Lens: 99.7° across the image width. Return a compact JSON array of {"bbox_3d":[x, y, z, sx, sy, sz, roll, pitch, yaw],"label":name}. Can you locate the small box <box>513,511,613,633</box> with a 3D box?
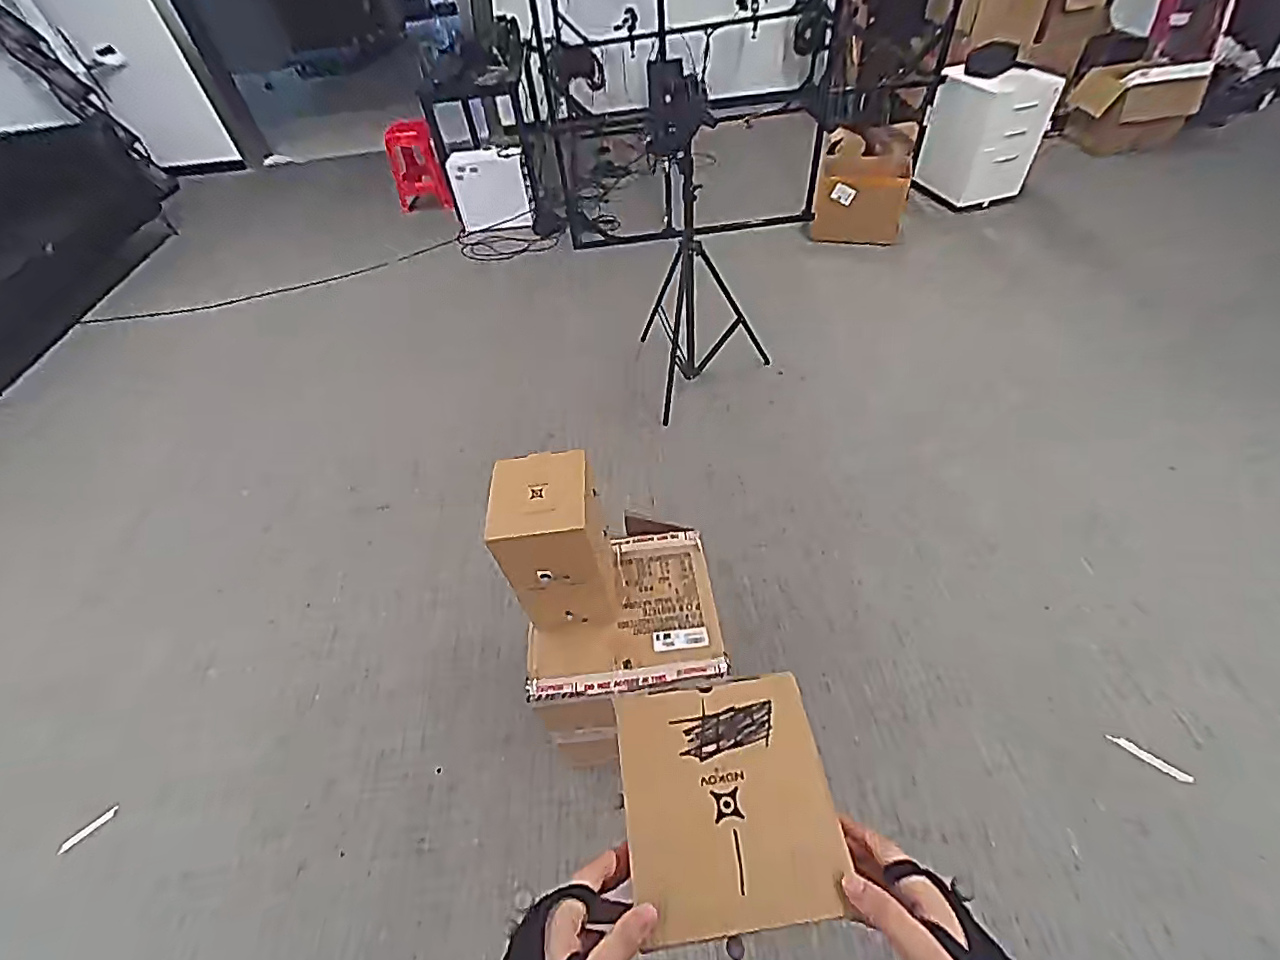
[{"bbox_3d":[-0.148,0.185,1.092,0.168,0.176,0.179,-8,50,2],"label":"small box"}]

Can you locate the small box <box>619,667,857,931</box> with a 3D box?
[{"bbox_3d":[0.072,0.299,0.504,0.168,0.176,0.179,-7,51,-2],"label":"small box"}]

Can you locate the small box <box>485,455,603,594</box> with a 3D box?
[{"bbox_3d":[-0.162,0.081,0.968,0.168,0.176,0.179,-8,50,2],"label":"small box"}]
